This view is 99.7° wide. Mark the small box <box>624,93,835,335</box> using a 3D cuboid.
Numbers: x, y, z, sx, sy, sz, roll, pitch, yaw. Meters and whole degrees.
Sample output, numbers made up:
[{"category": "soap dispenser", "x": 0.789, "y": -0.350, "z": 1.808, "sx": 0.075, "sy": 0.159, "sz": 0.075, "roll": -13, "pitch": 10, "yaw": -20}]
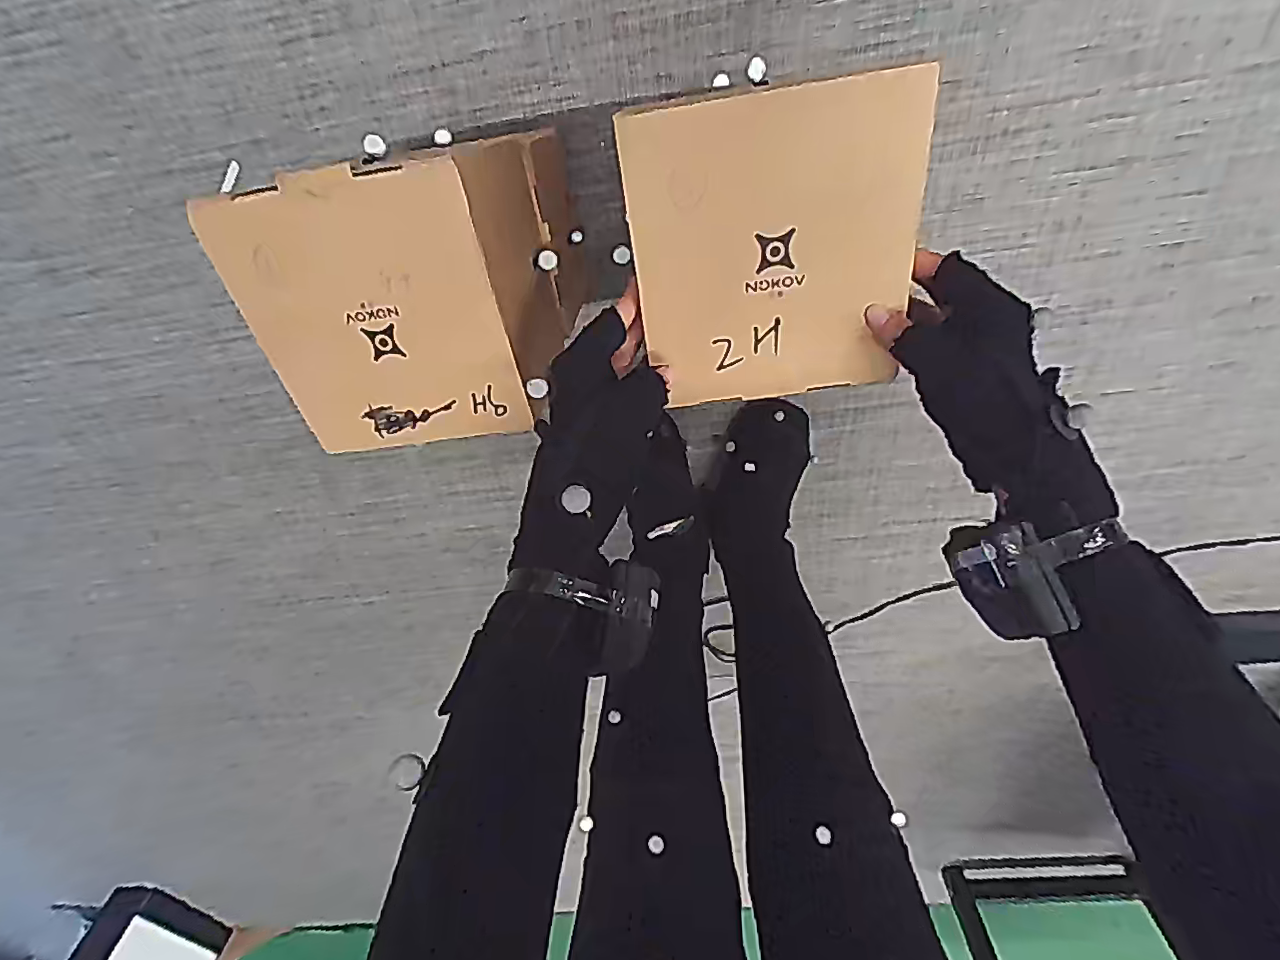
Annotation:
[{"category": "small box", "x": 0.082, "y": -0.264, "z": 0.532, "sx": 0.168, "sy": 0.176, "sz": 0.179, "roll": -7, "pitch": 124, "yaw": 6}]
